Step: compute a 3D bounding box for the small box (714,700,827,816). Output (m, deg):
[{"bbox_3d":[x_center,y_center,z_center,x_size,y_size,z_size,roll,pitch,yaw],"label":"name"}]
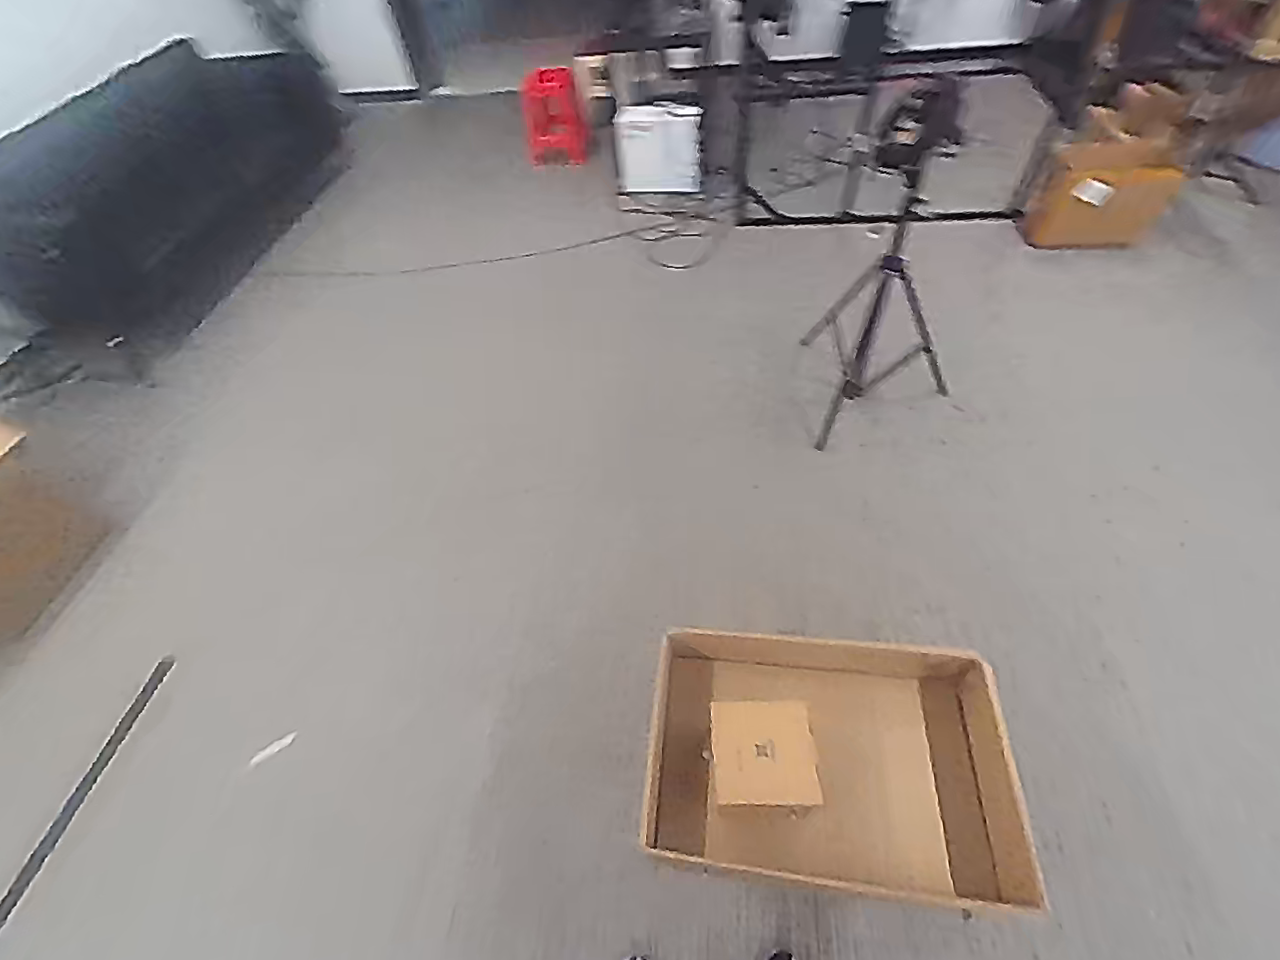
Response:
[{"bbox_3d":[0.230,0.514,1.000,0.179,0.176,0.168,-3,52,6],"label":"small box"}]
